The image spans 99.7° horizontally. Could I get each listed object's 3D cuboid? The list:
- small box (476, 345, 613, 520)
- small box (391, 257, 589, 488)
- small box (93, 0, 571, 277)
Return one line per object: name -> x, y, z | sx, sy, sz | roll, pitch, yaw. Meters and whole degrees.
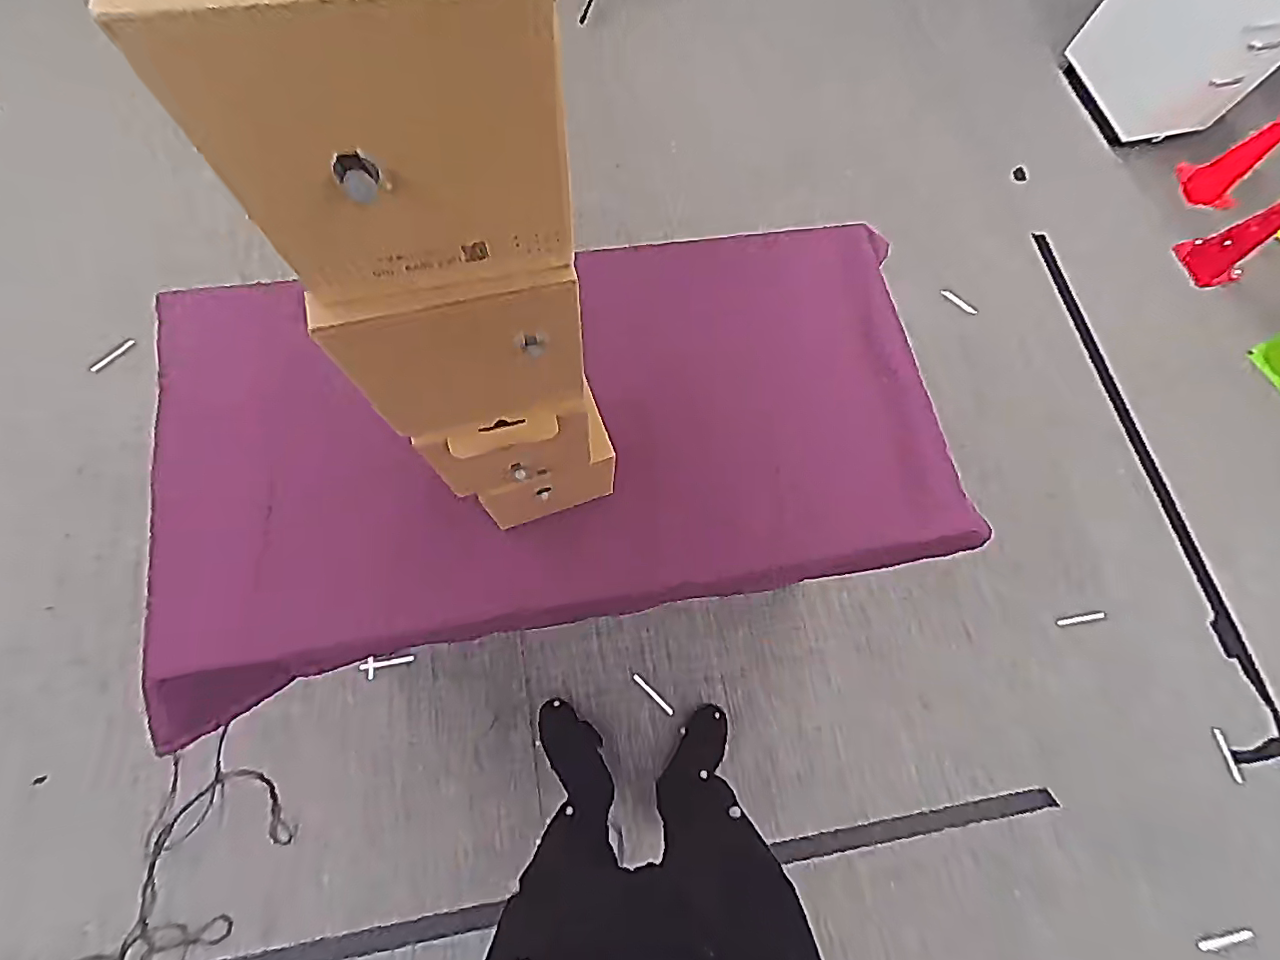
small box -> -0.144, -0.057, 0.757 | 0.179, 0.176, 0.168 | -18, 75, -10
small box -> -0.155, -0.110, 0.600 | 0.168, 0.176, 0.179 | -14, 74, -8
small box -> -0.137, -0.234, 0.297 | 0.168, 0.176, 0.179 | -13, 73, -8
